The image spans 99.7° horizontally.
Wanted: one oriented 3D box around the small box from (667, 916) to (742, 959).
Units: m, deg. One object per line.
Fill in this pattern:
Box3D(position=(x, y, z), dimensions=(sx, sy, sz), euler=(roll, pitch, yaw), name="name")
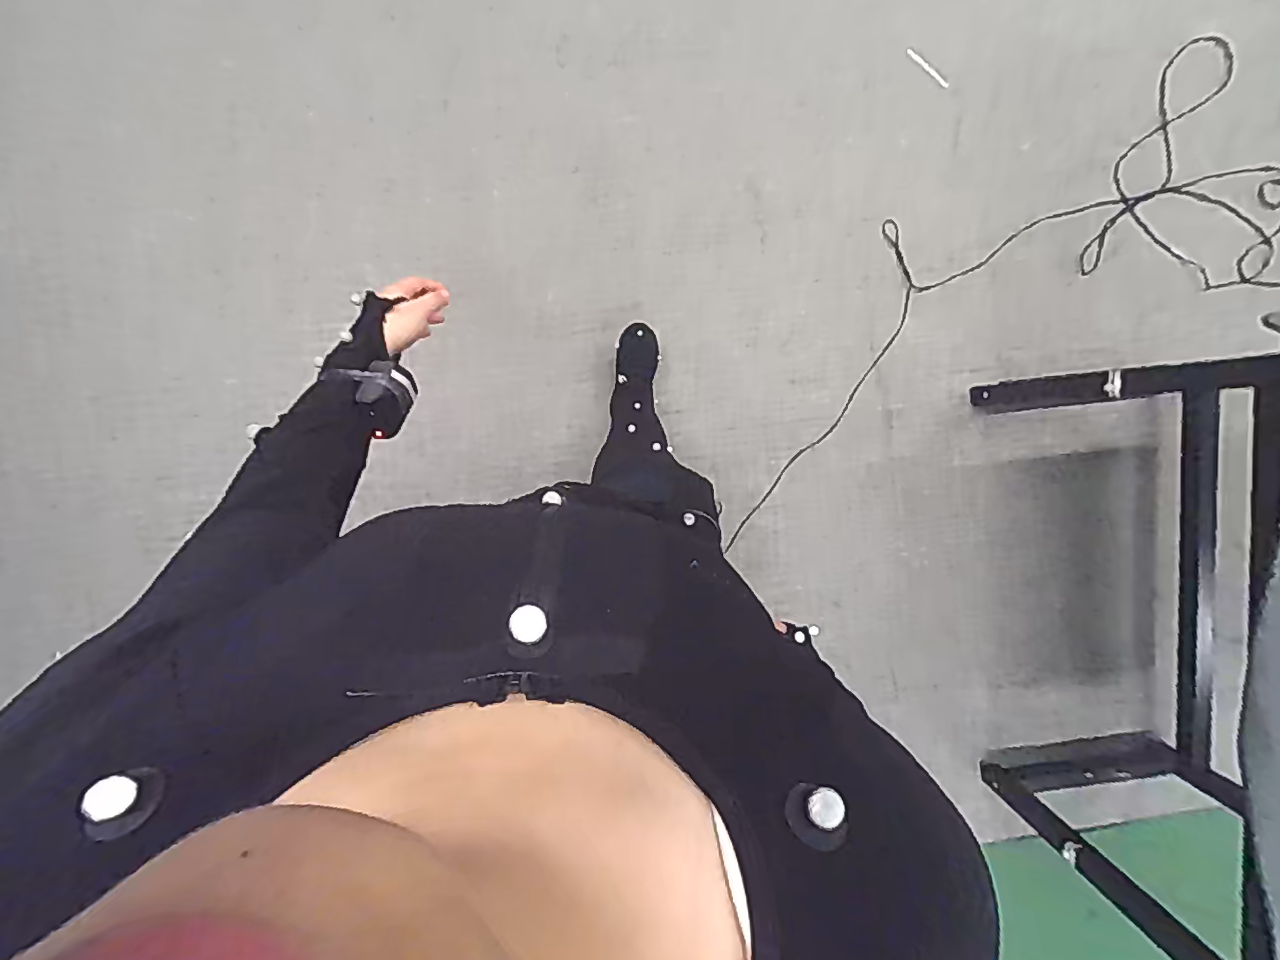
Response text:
Box3D(position=(0.171, 1.214, 1.313), dimensions=(0.179, 0.176, 0.168), euler=(-13, 95, 0), name="small box")
